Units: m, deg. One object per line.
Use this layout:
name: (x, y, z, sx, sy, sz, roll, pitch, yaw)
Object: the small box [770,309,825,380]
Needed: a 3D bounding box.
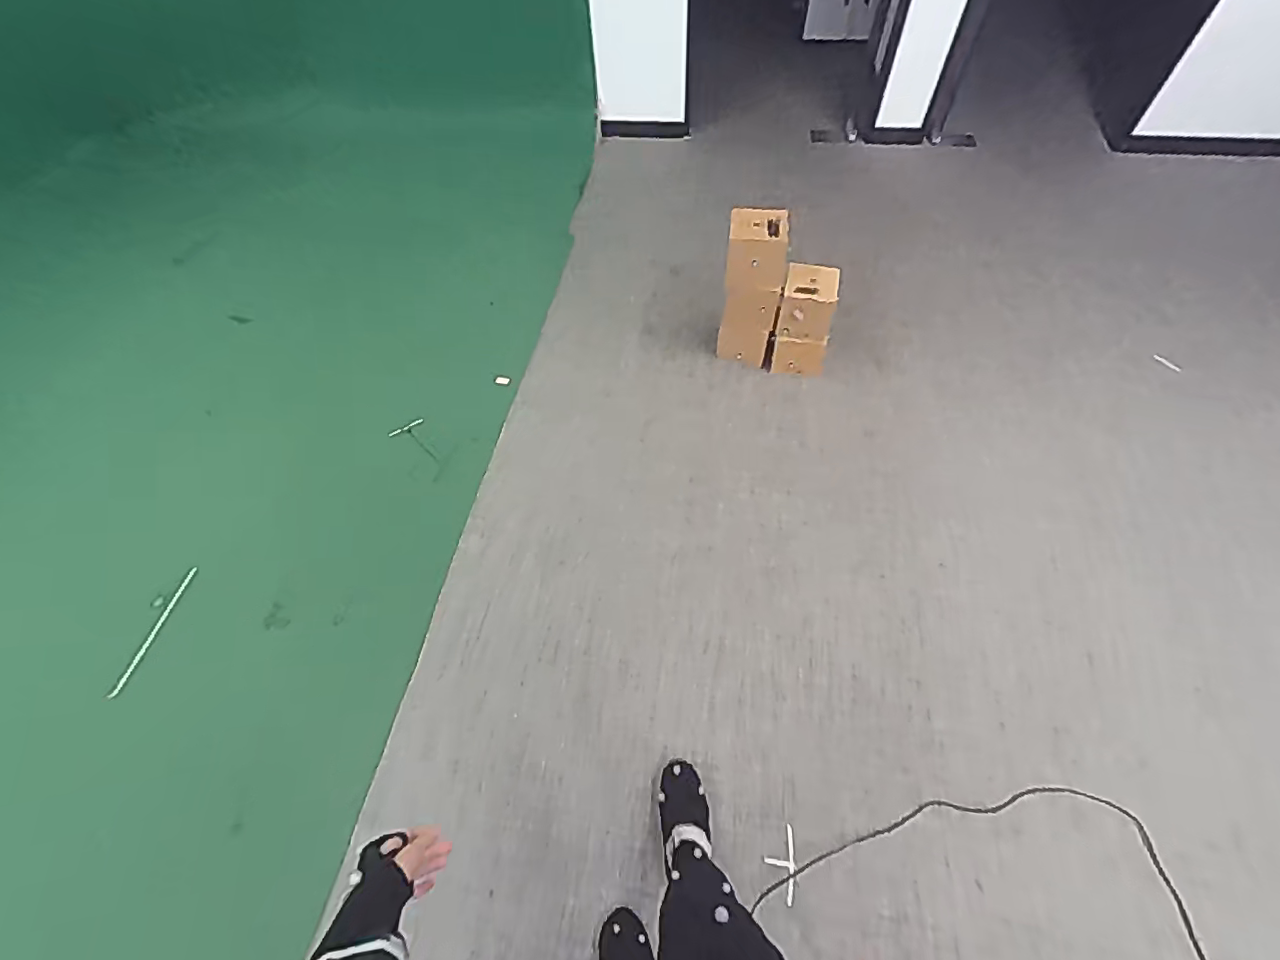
small box: (0.564, -0.485, 1.945, 0.168, 0.176, 0.179, 6, 59, 8)
